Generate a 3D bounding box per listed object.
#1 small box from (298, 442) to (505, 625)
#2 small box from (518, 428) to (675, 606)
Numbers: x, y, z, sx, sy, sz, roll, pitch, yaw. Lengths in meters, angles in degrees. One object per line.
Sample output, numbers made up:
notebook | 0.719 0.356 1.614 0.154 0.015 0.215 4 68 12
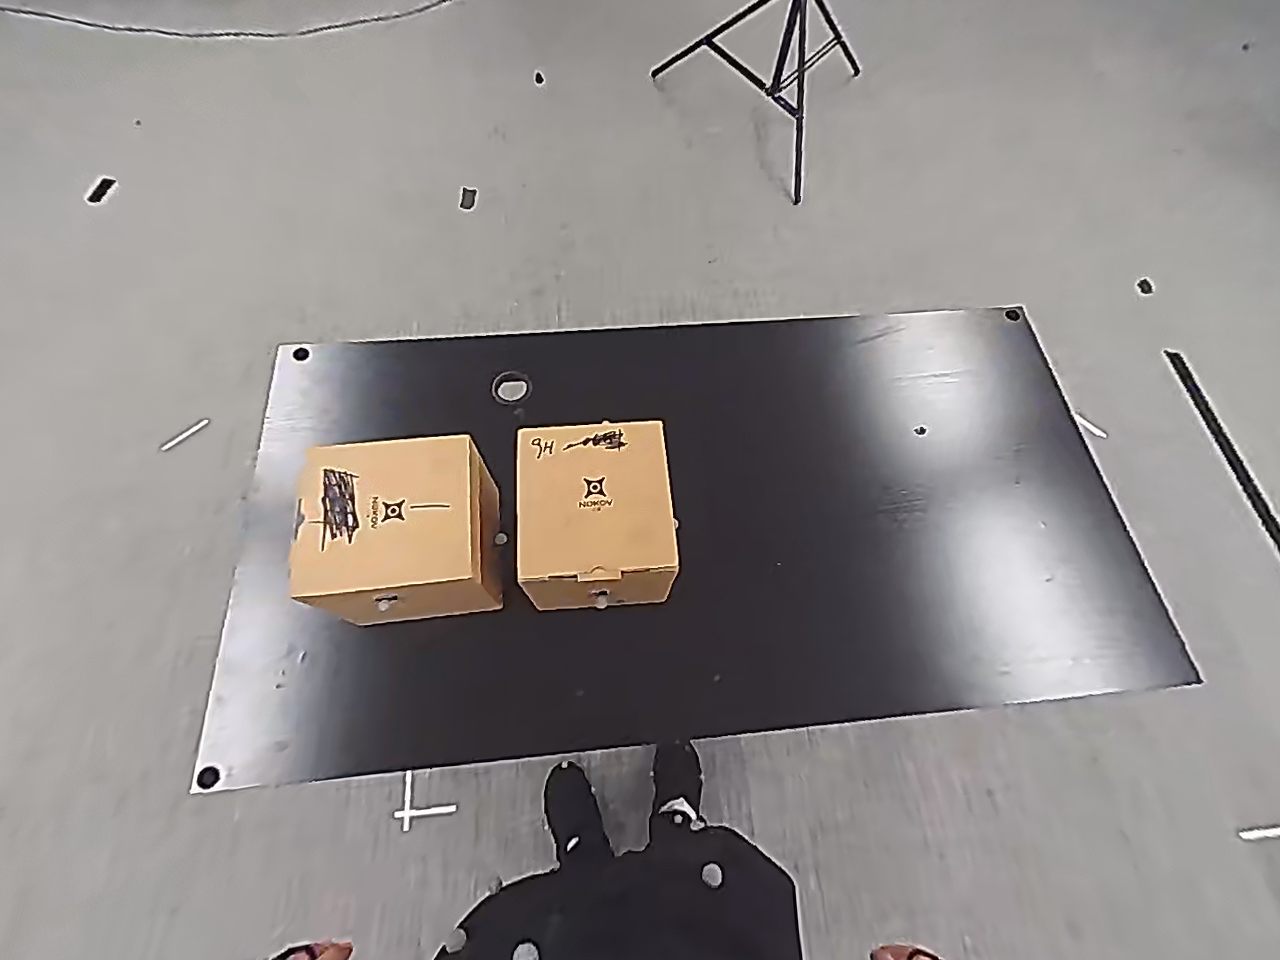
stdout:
small box | -0.266 0.071 0.645 0.179 0.176 0.168 -6 67 -6
small box | -0.052 0.054 0.661 0.168 0.176 0.179 -3 67 -5
